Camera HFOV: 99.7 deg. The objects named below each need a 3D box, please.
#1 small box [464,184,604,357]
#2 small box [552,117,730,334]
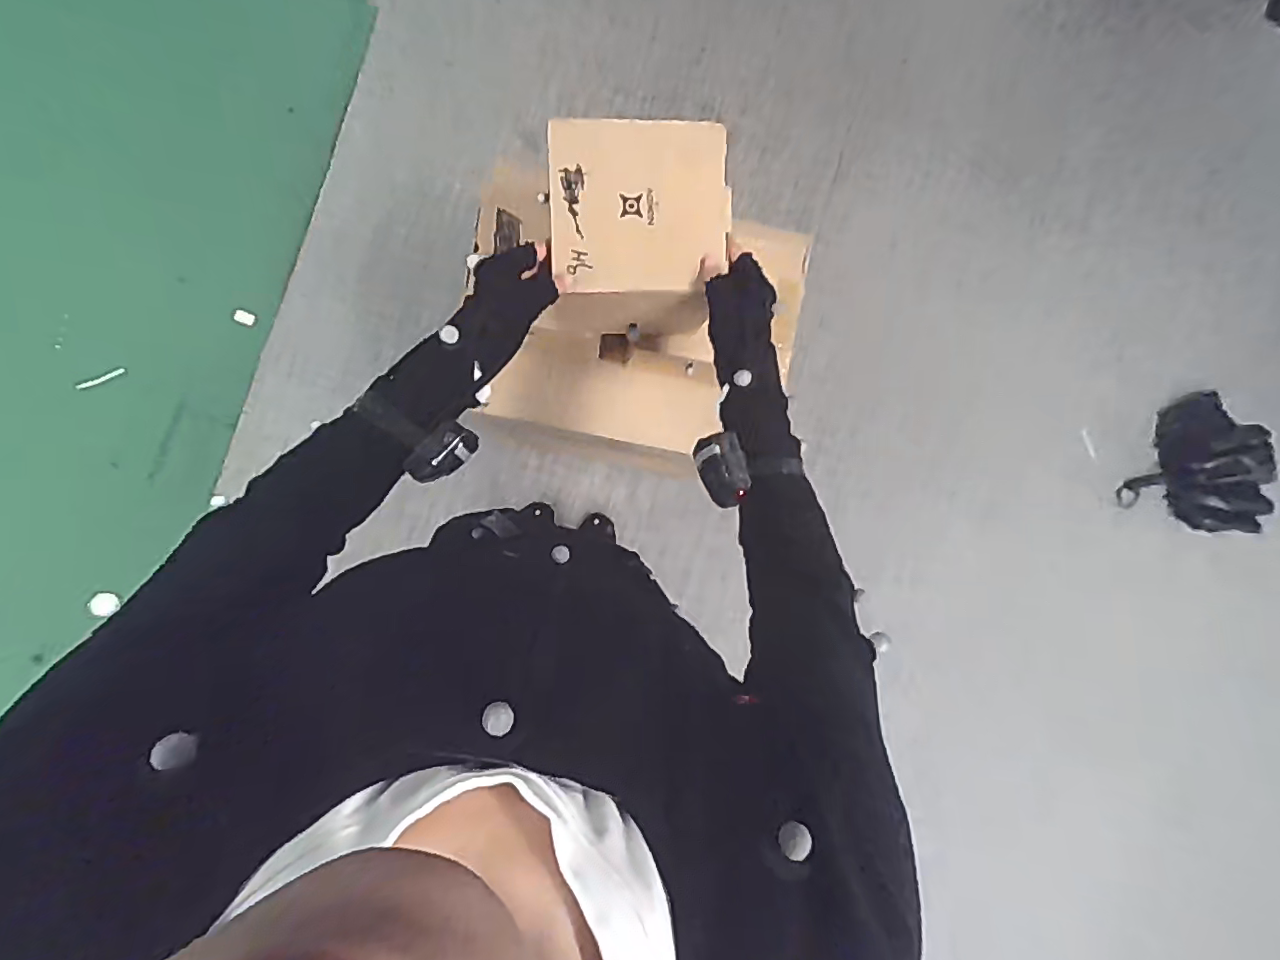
[{"bbox_3d":[-0.130,-0.280,0.762,0.179,0.176,0.168,10,92,-6],"label":"small box"},{"bbox_3d":[-0.008,-0.266,0.605,0.179,0.176,0.168,-1,91,-6],"label":"small box"}]
